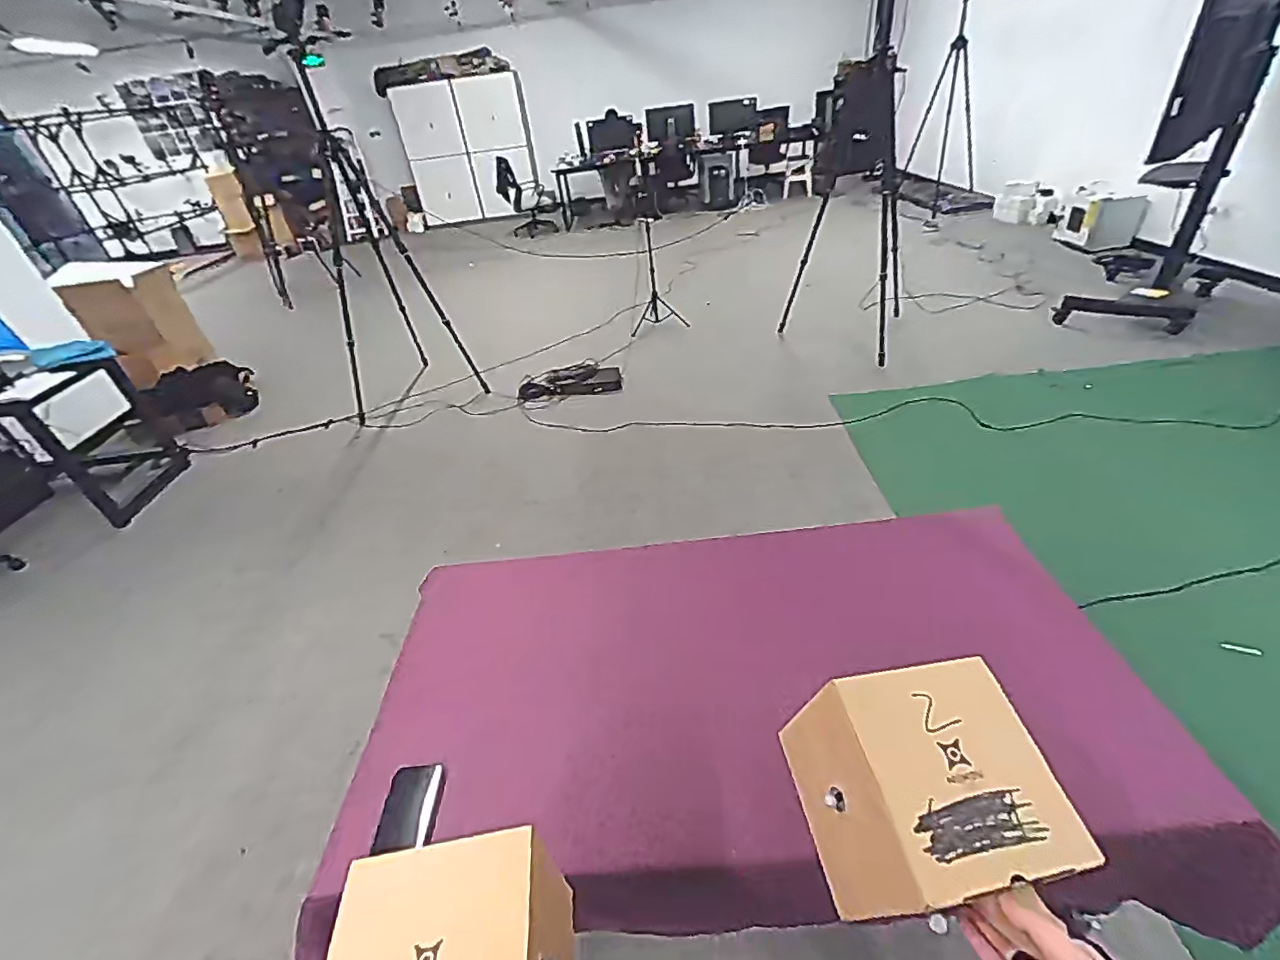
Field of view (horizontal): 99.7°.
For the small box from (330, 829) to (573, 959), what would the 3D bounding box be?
[{"bbox_3d":[-0.153,0.438,0.462,0.168,0.176,0.179,-9,38,-1],"label":"small box"}]
